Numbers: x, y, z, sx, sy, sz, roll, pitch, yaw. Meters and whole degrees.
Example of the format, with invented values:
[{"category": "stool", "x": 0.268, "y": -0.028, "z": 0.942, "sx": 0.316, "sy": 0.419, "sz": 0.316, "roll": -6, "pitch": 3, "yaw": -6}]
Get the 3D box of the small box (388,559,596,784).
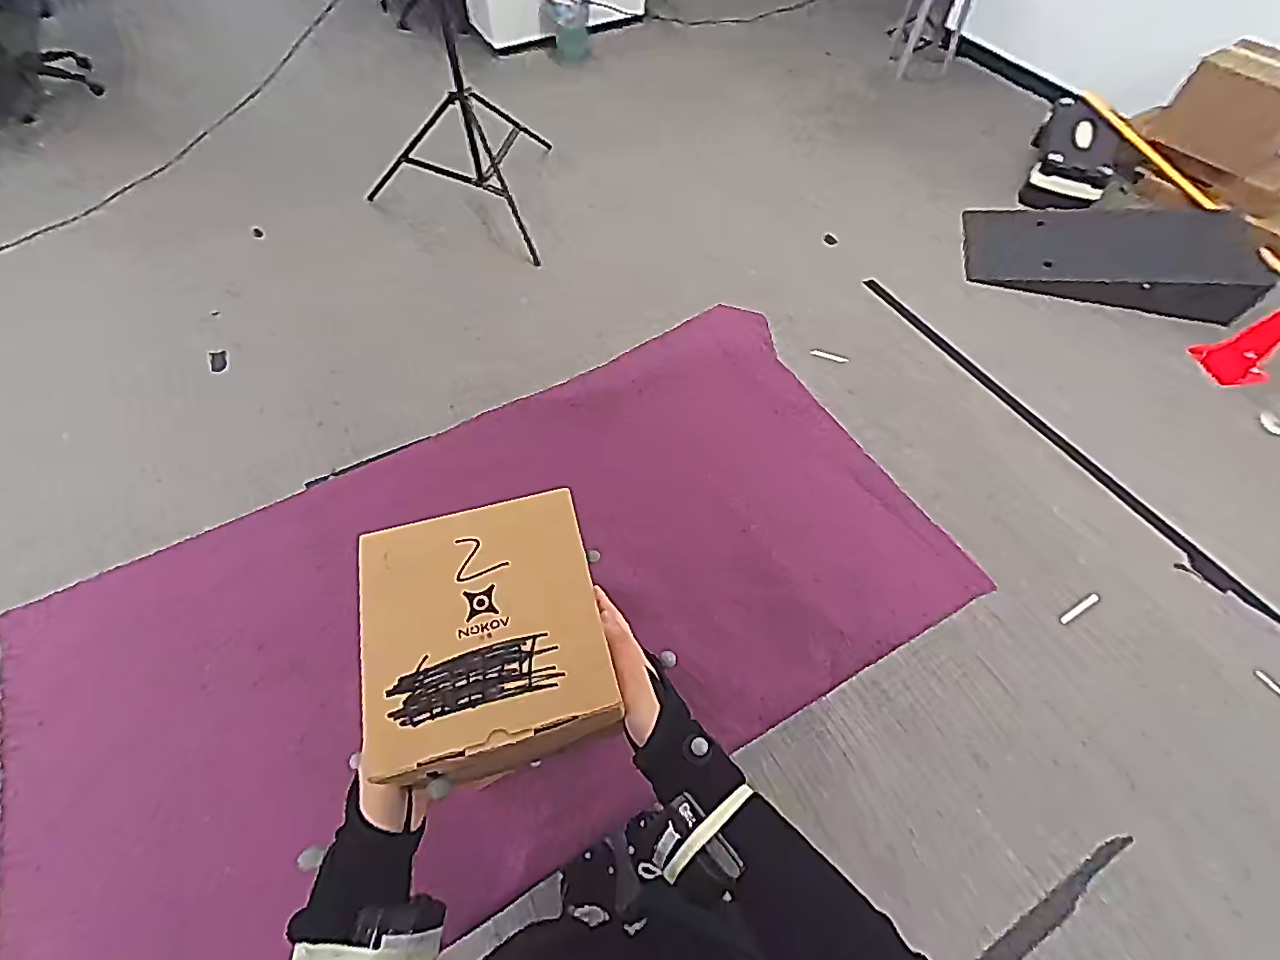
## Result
[{"category": "small box", "x": -0.162, "y": 0.227, "z": 0.630, "sx": 0.168, "sy": 0.176, "sz": 0.179, "roll": -25, "pitch": 62, "yaw": -14}]
